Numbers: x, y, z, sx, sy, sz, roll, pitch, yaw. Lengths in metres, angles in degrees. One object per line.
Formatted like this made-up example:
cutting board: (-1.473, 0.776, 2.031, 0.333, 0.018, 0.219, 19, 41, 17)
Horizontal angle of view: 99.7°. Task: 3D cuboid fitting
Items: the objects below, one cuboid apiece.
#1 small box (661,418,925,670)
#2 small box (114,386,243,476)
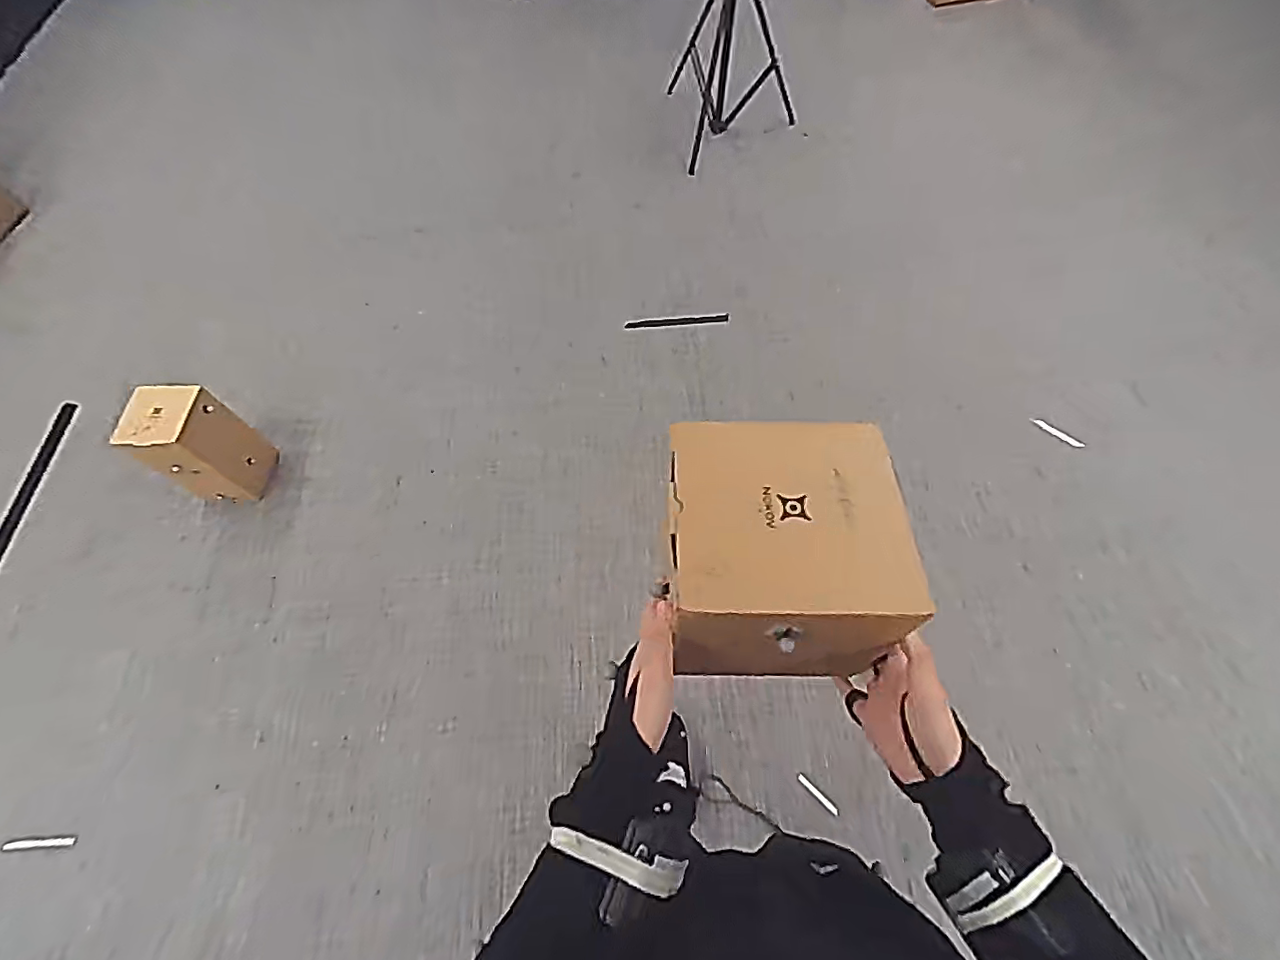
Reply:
small box: (0.107, 0.063, 0.474, 0.179, 0.176, 0.168, 1, 57, -1)
small box: (-1.189, -0.127, 1.413, 0.168, 0.176, 0.179, 0, 64, 1)
